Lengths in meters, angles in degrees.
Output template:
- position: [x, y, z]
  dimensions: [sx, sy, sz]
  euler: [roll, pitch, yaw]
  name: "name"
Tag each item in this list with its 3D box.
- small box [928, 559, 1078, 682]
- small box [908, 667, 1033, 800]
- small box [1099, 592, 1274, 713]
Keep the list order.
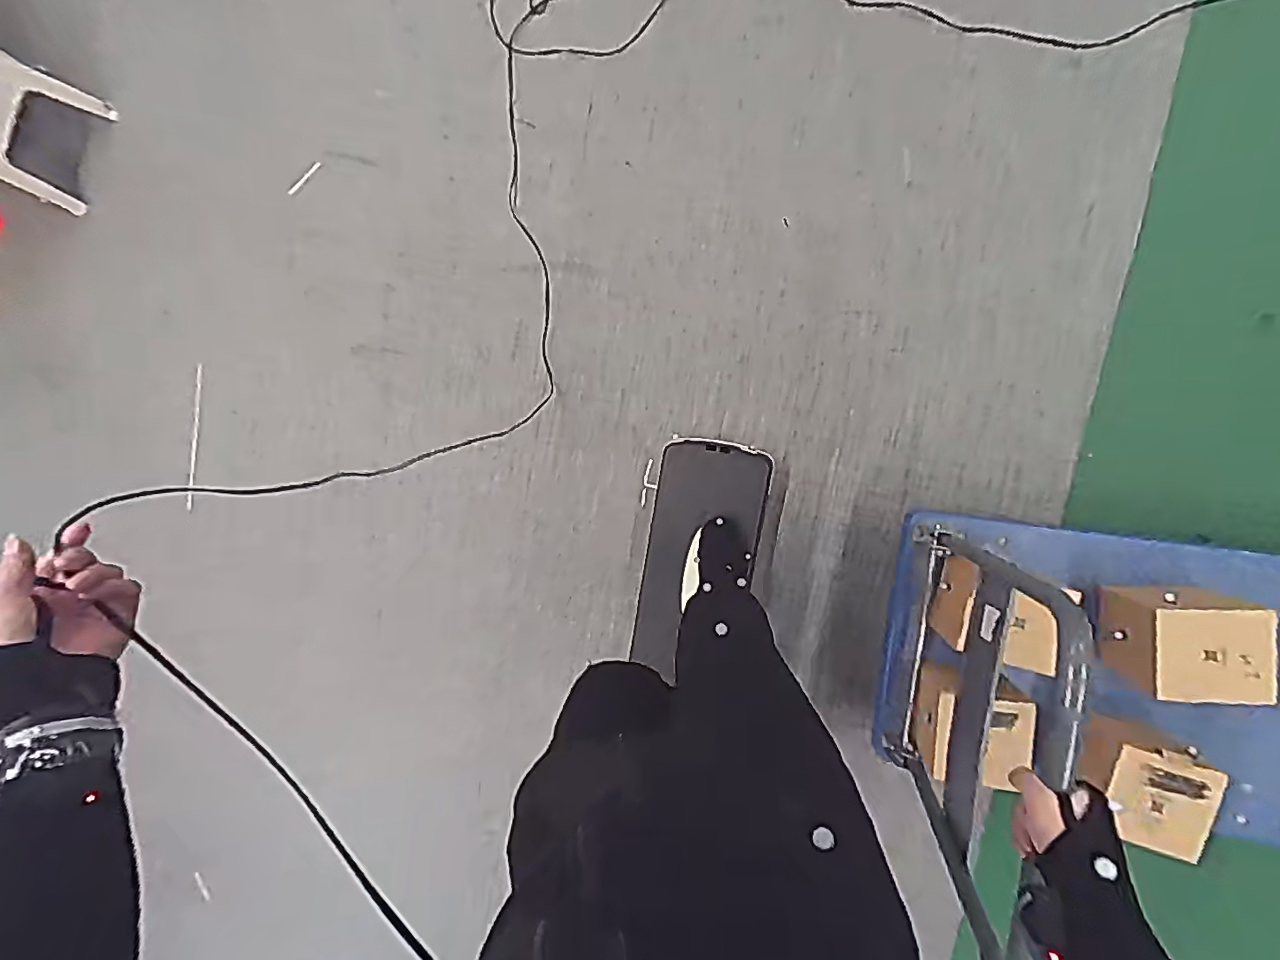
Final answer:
- position: [0.703, 0.266, 1.070]
  dimensions: [0.179, 0.176, 0.168]
  euler: [14, 96, 12]
  name: "small box"
- position: [0.654, 0.497, 1.089]
  dimensions: [0.168, 0.176, 0.179]
  euler: [4, 94, 13]
  name: "small box"
- position: [0.997, 0.310, 1.004]
  dimensions: [0.179, 0.176, 0.168]
  euler: [-2, 93, 13]
  name: "small box"
